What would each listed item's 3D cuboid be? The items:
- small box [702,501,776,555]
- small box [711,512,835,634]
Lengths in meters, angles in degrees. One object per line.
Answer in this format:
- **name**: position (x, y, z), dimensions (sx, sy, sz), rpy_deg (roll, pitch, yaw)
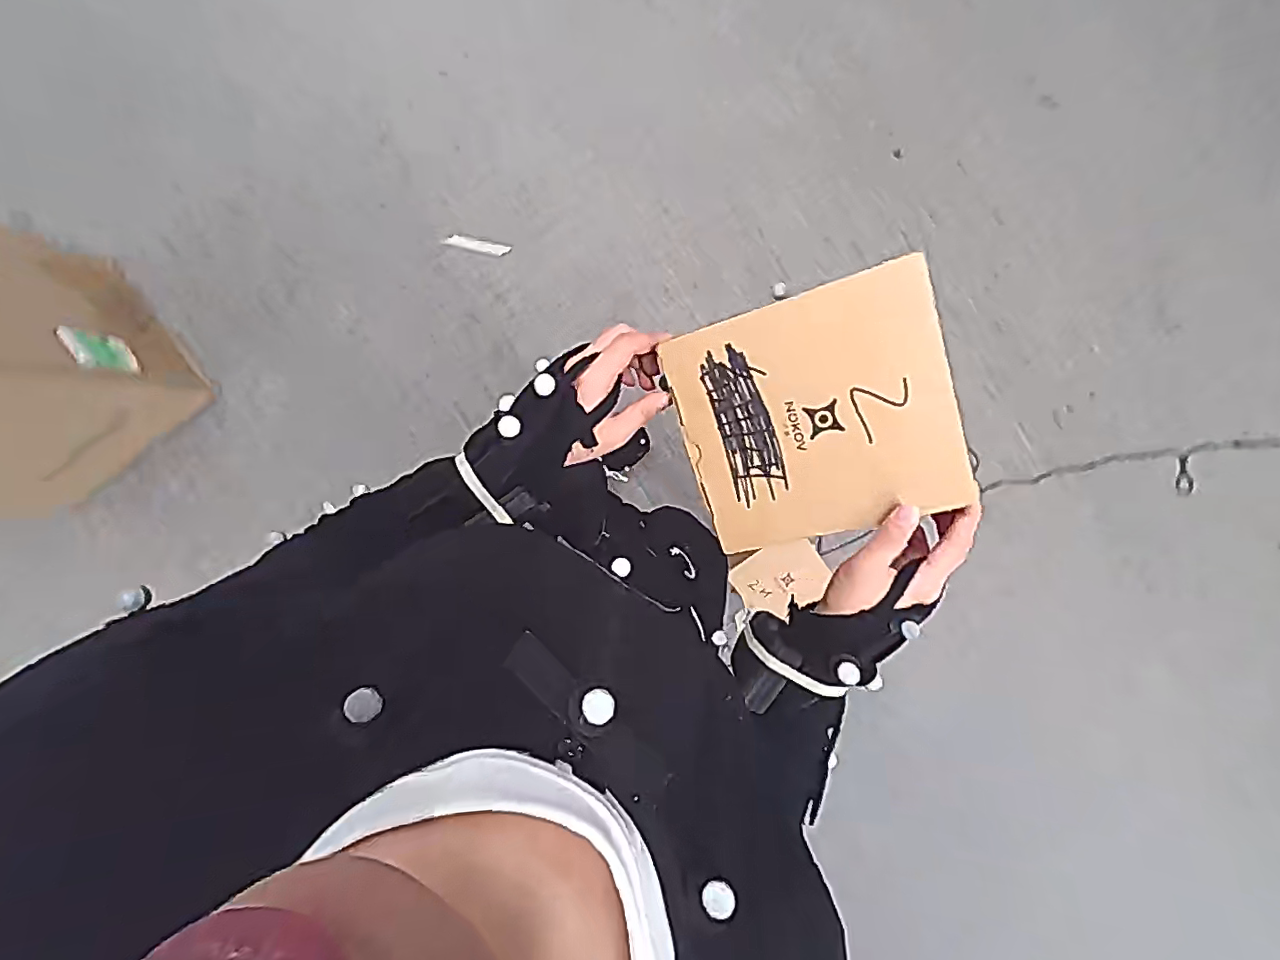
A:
- **small box**: position (0.269, 0.168, 1.309), dimensions (0.179, 0.176, 0.168), rpy_deg (-34, 95, 4)
- **small box**: position (0.271, 0.186, 1.145), dimensions (0.179, 0.176, 0.168), rpy_deg (-35, 94, 4)
